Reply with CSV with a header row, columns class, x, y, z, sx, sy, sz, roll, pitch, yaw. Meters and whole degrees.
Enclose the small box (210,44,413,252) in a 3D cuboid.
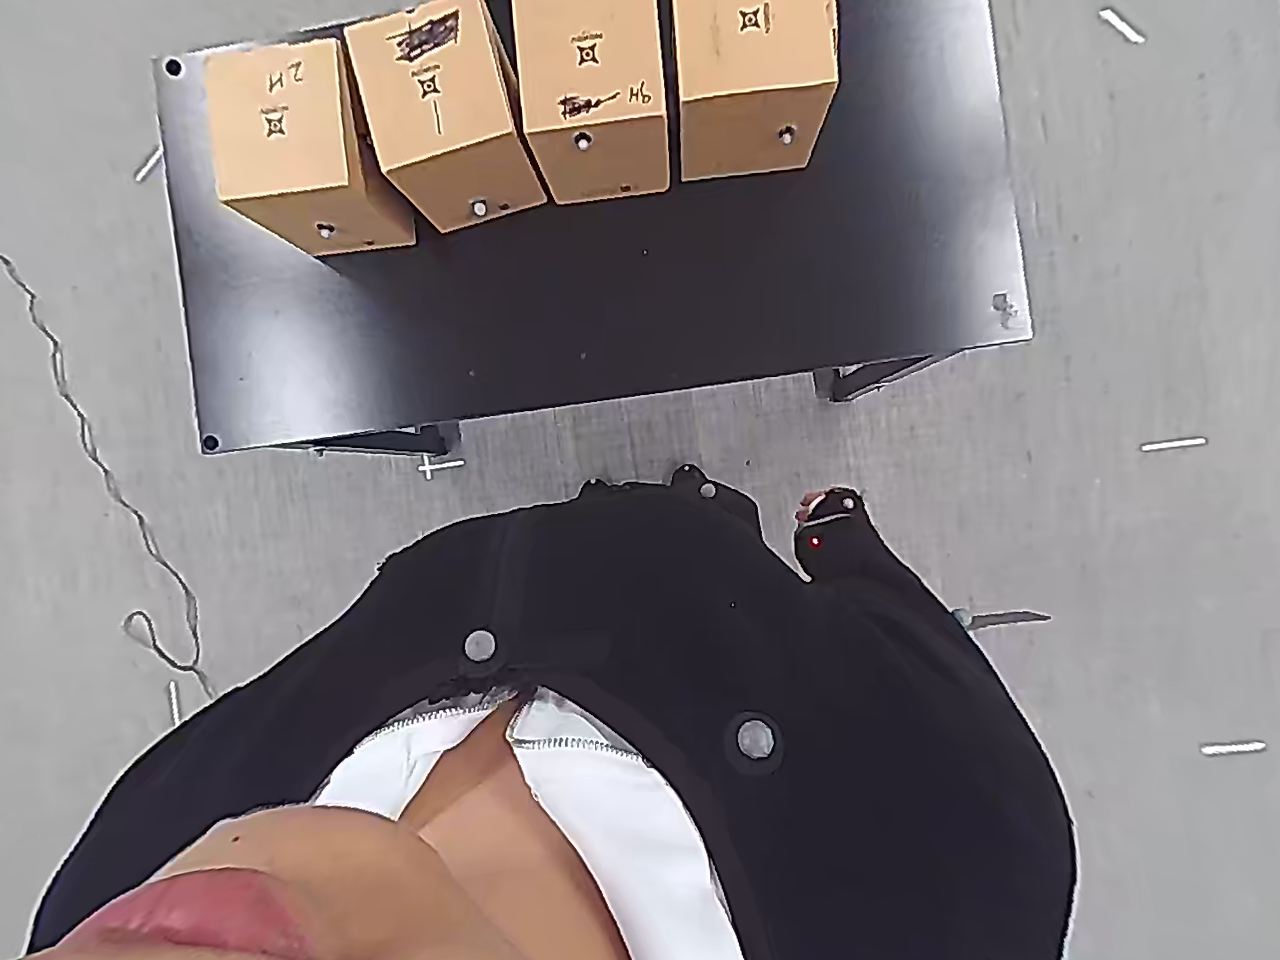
class,x,y,z,sx,sy,sz,roll,pitch,yaw
small box,-0.421,-0.422,0.721,0.168,0.176,0.179,-5,90,4
